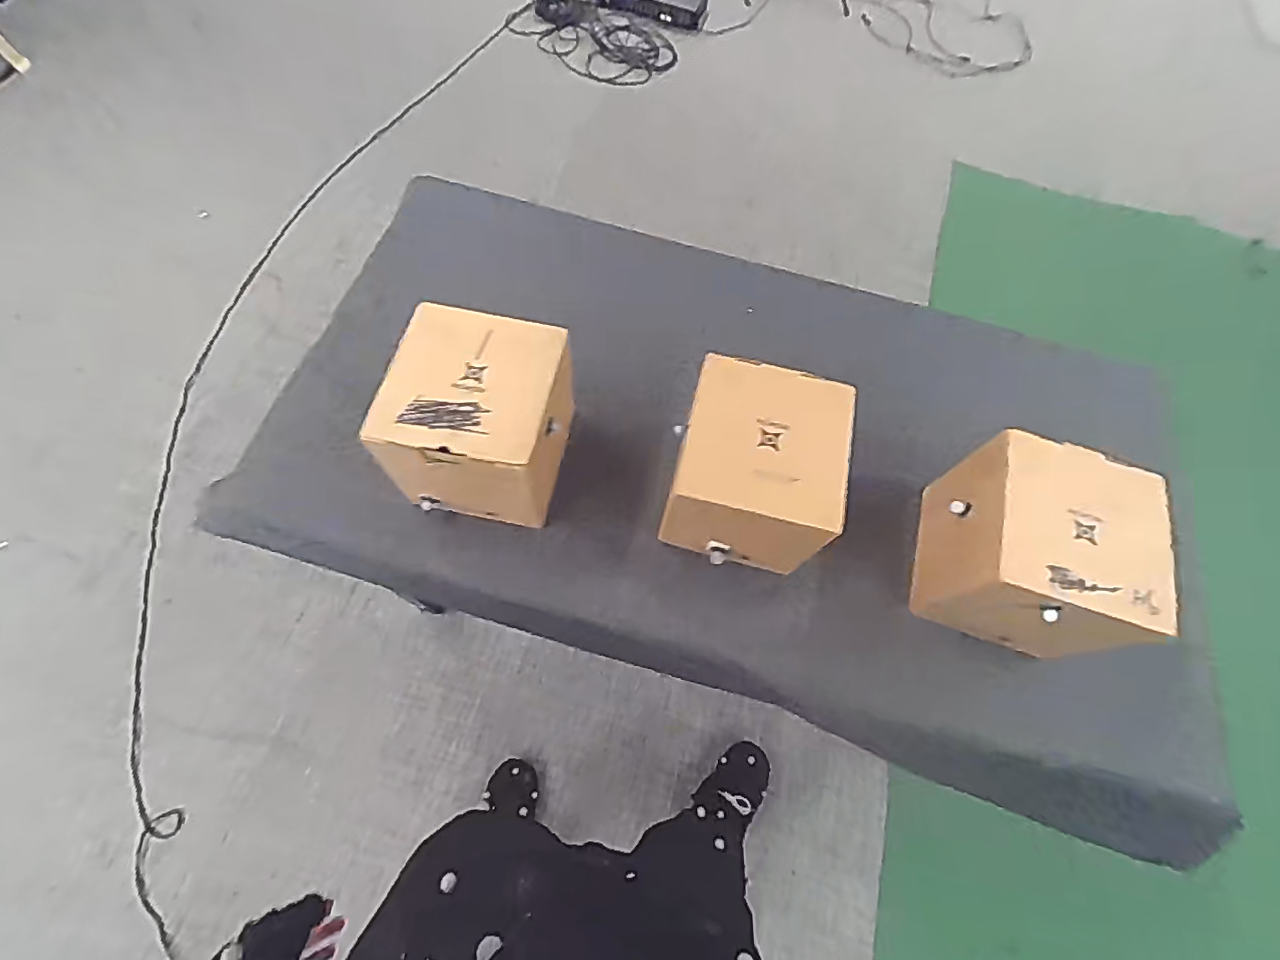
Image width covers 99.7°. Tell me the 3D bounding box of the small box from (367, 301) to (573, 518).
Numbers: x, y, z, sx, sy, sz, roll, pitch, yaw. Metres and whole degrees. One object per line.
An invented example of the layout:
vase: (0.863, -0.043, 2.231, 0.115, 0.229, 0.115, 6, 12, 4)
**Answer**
small box: (-0.176, -0.072, 0.628, 0.168, 0.176, 0.179, 11, 64, 0)

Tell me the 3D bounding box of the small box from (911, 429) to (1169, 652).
small box: (0.432, 0.076, 0.611, 0.168, 0.176, 0.179, 18, 66, 5)

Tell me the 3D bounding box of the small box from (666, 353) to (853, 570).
small box: (0.129, -0.013, 0.630, 0.168, 0.176, 0.179, 13, 67, 3)
